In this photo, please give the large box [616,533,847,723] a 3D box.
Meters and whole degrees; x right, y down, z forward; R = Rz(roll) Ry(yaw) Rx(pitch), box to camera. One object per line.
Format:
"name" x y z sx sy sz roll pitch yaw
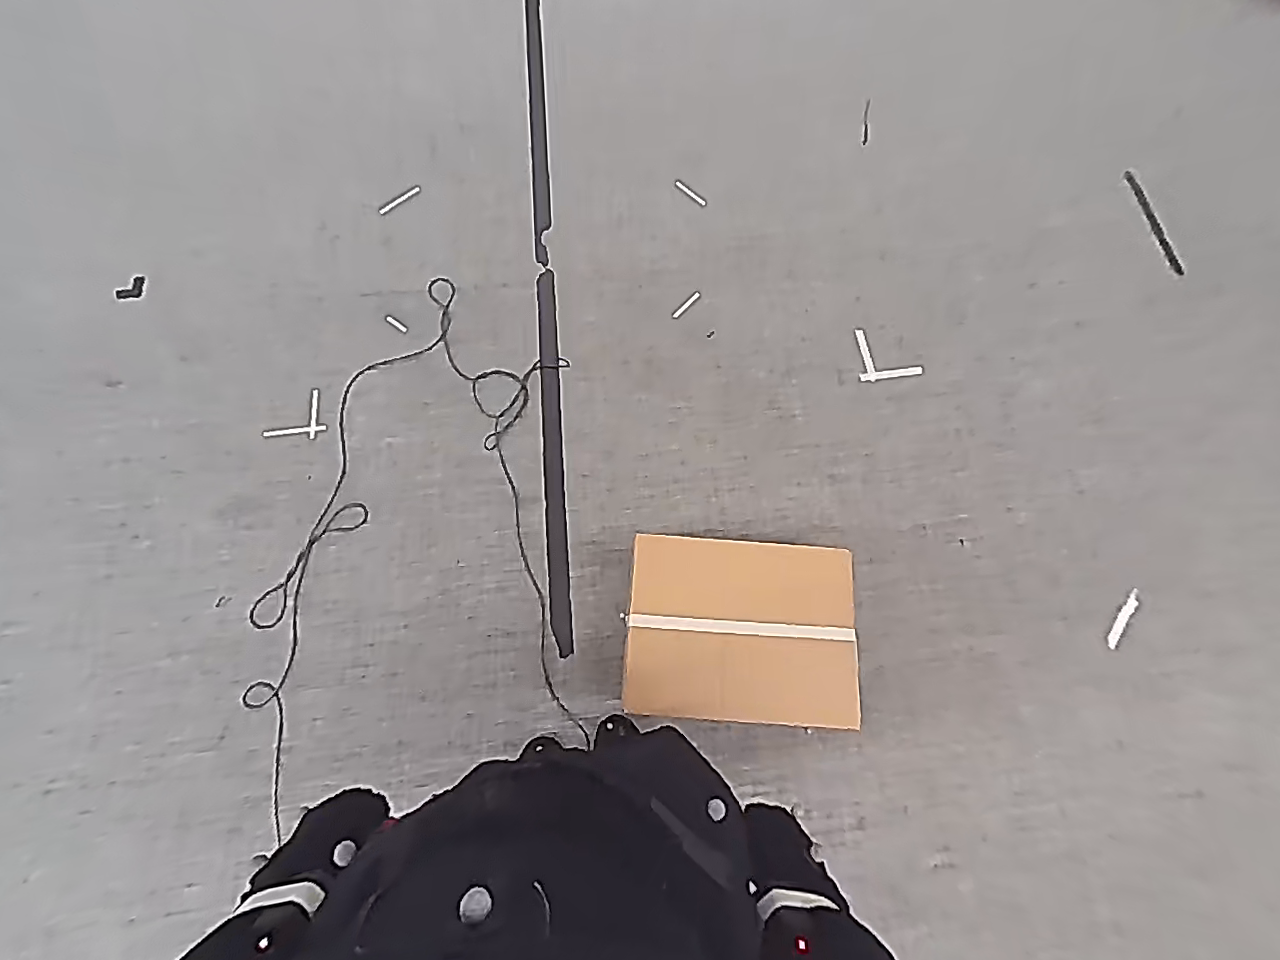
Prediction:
"large box" 0.164 0.302 1.111 0.408 0.320 0.320 5 71 -1
